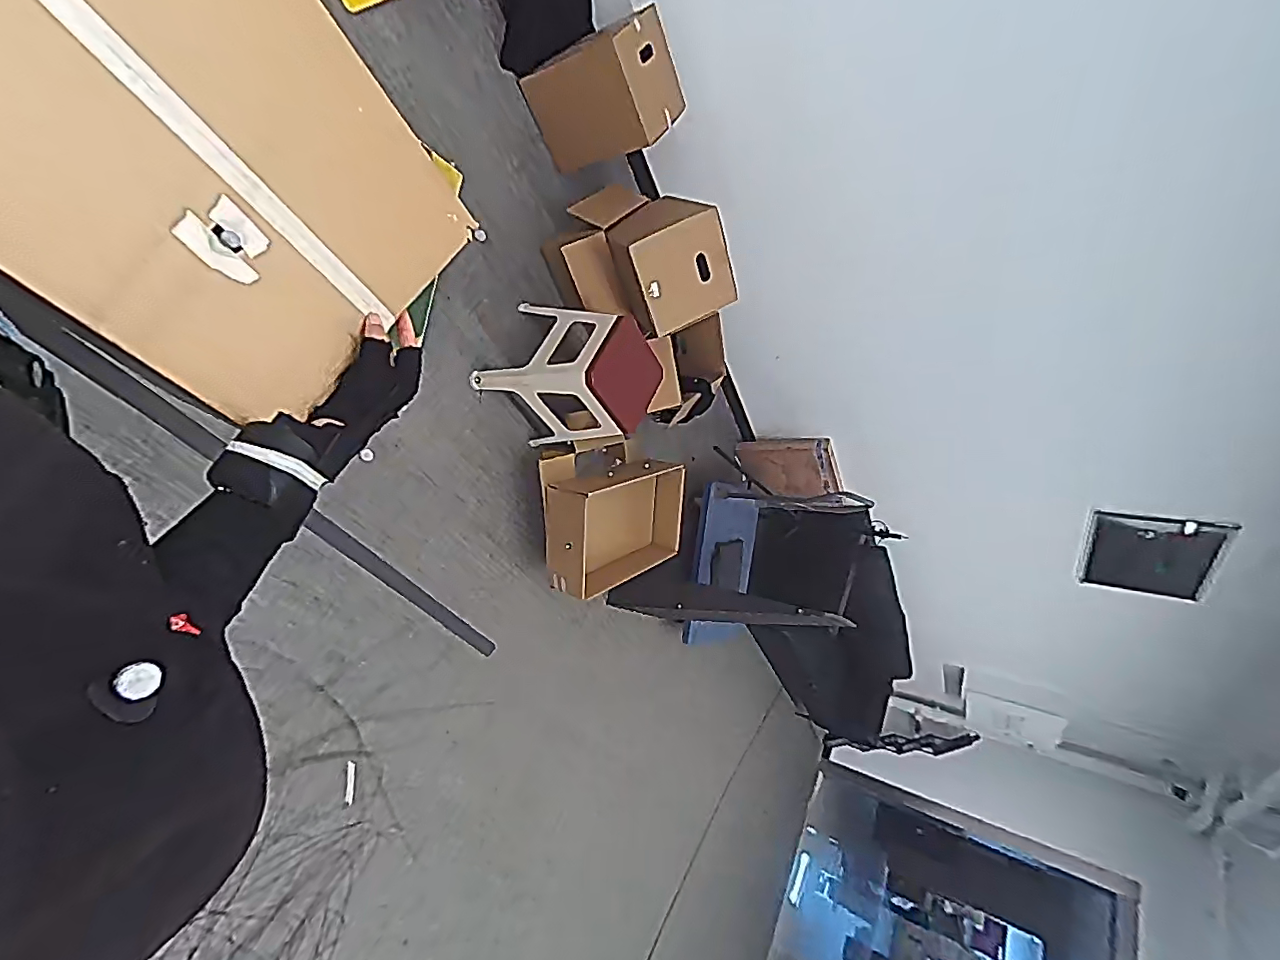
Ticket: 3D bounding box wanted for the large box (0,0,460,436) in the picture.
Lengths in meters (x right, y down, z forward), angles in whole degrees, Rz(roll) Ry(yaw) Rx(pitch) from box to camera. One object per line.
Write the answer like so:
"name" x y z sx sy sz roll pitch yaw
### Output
"large box" -0.466 -0.298 0.489 0.320 0.320 0.408 -59 143 -19
